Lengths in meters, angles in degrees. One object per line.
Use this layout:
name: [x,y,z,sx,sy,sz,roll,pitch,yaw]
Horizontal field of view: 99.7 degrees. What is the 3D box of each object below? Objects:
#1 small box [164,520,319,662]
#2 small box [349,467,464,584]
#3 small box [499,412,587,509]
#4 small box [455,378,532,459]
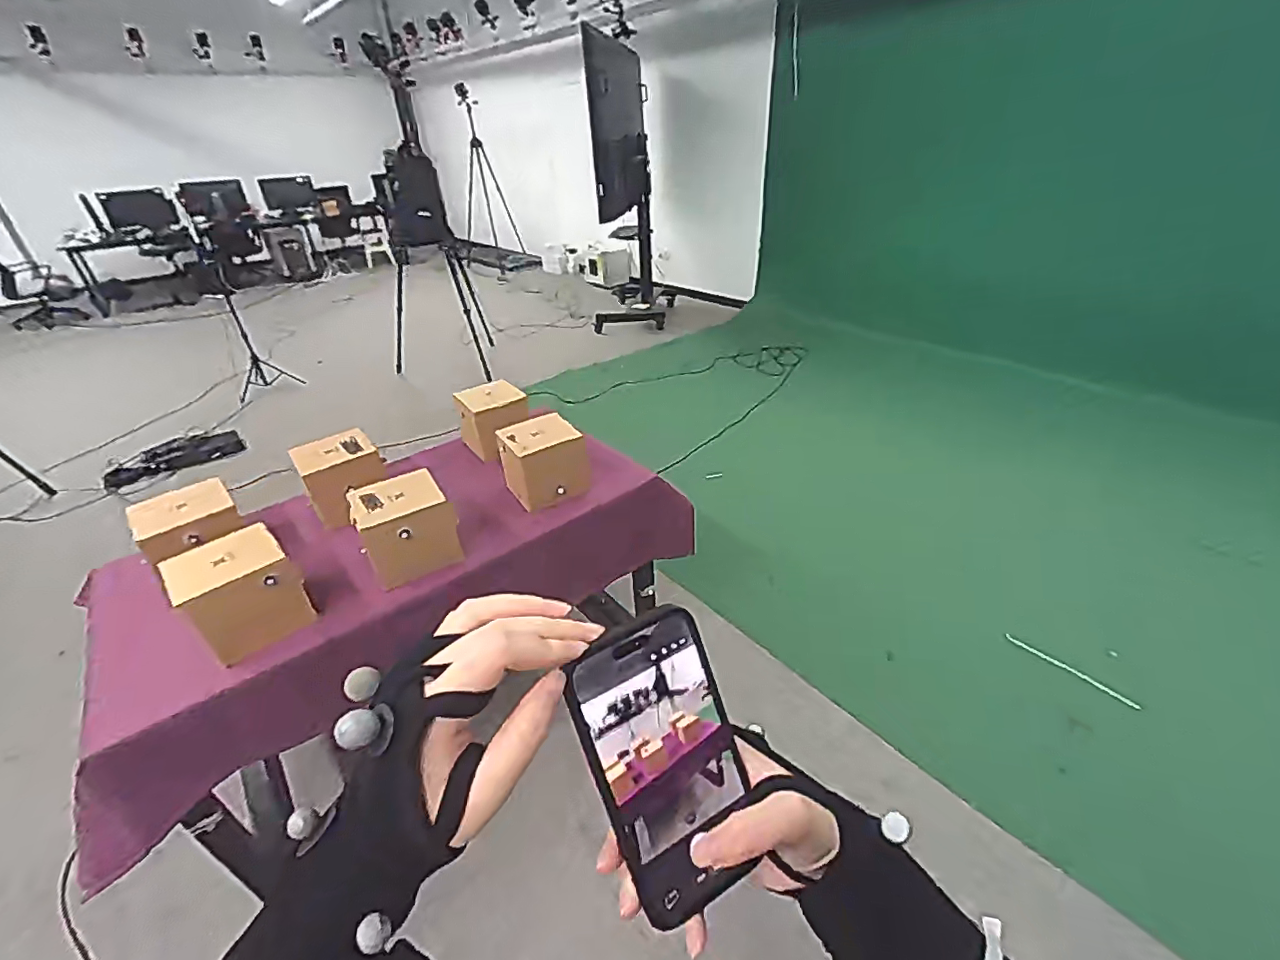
small box: [-0.762,0.212,1.043,0.168,0.176,0.179,27,42,38]
small box: [-0.511,0.099,1.192,0.179,0.176,0.168,-21,37,-27]
small box: [-0.247,-0.053,1.403,0.179,0.176,0.168,-21,37,-25]
small box: [-0.432,-0.186,1.619,0.168,0.176,0.179,-24,39,-28]
